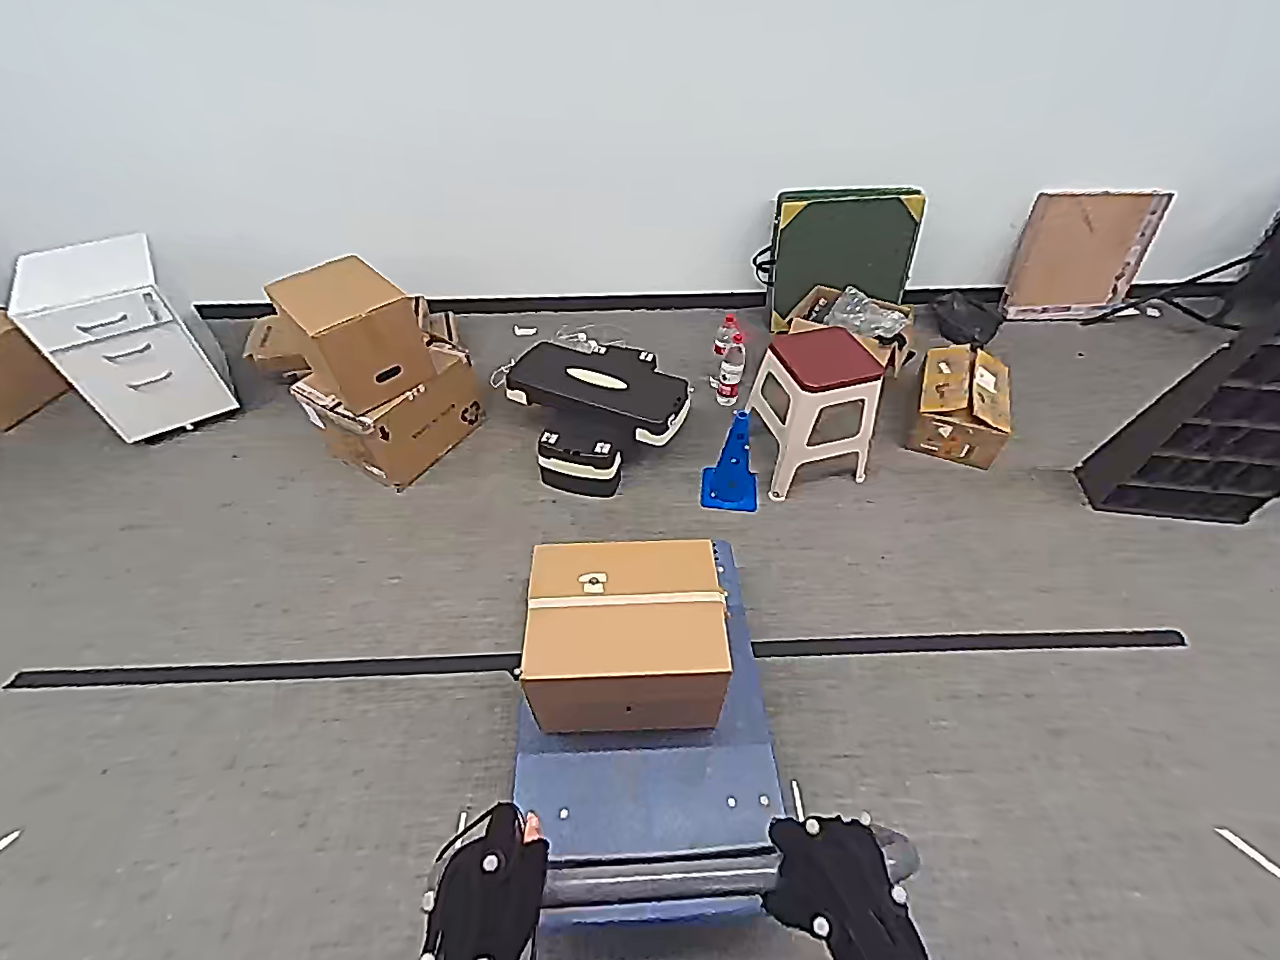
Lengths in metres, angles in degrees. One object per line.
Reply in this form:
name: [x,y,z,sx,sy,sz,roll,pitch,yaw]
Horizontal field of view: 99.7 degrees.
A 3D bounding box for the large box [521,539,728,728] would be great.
large box: [-0.032,0.356,1.239,0.408,0.320,0.320,-2,47,-1]
